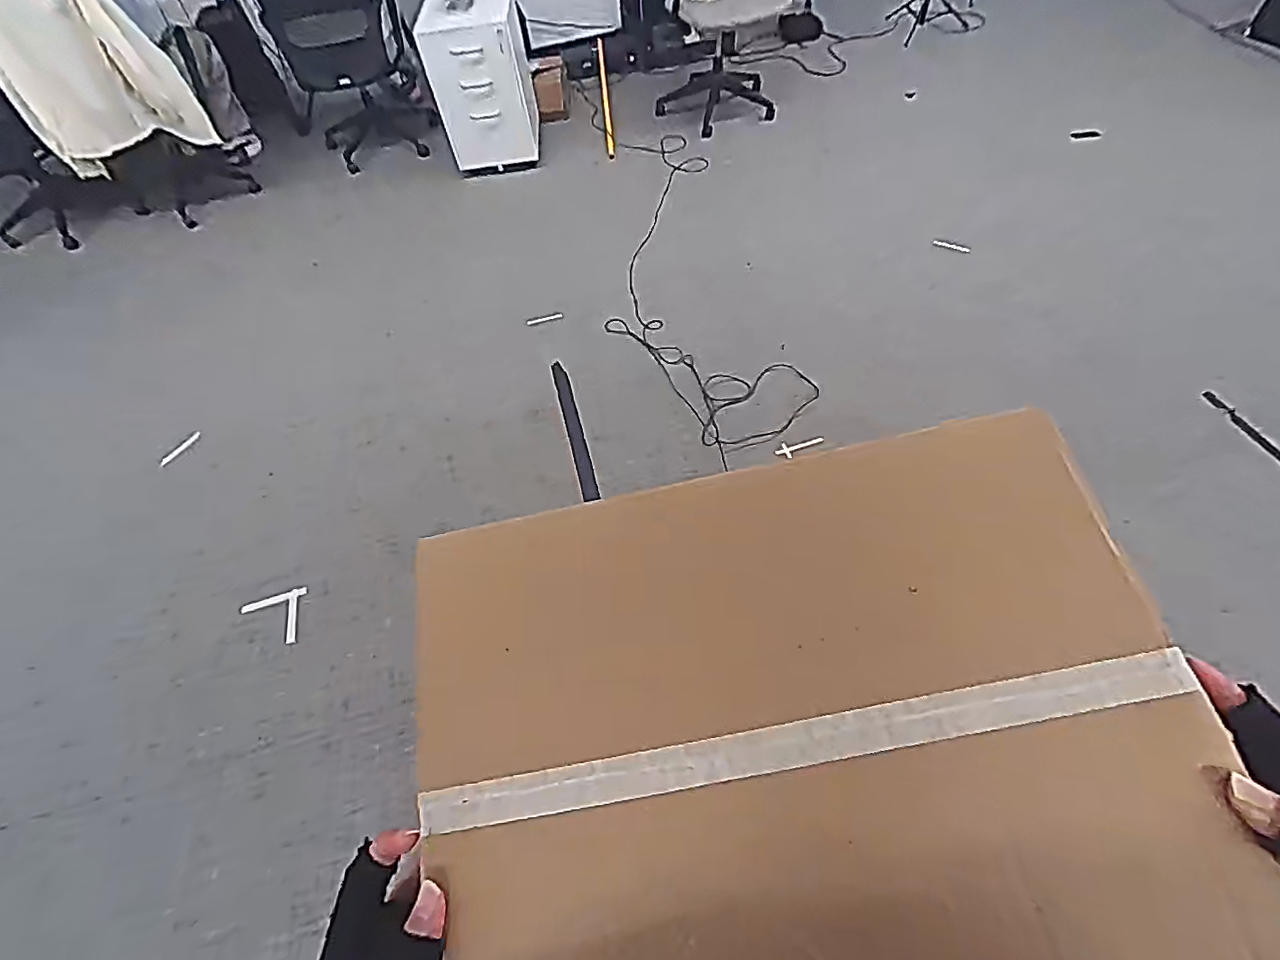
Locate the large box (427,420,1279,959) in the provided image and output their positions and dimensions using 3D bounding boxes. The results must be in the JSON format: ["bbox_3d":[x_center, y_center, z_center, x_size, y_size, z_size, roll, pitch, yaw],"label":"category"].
[{"bbox_3d":[0.100,0.196,0.430,0.408,0.320,0.320,-13,66,4],"label":"large box"}]
